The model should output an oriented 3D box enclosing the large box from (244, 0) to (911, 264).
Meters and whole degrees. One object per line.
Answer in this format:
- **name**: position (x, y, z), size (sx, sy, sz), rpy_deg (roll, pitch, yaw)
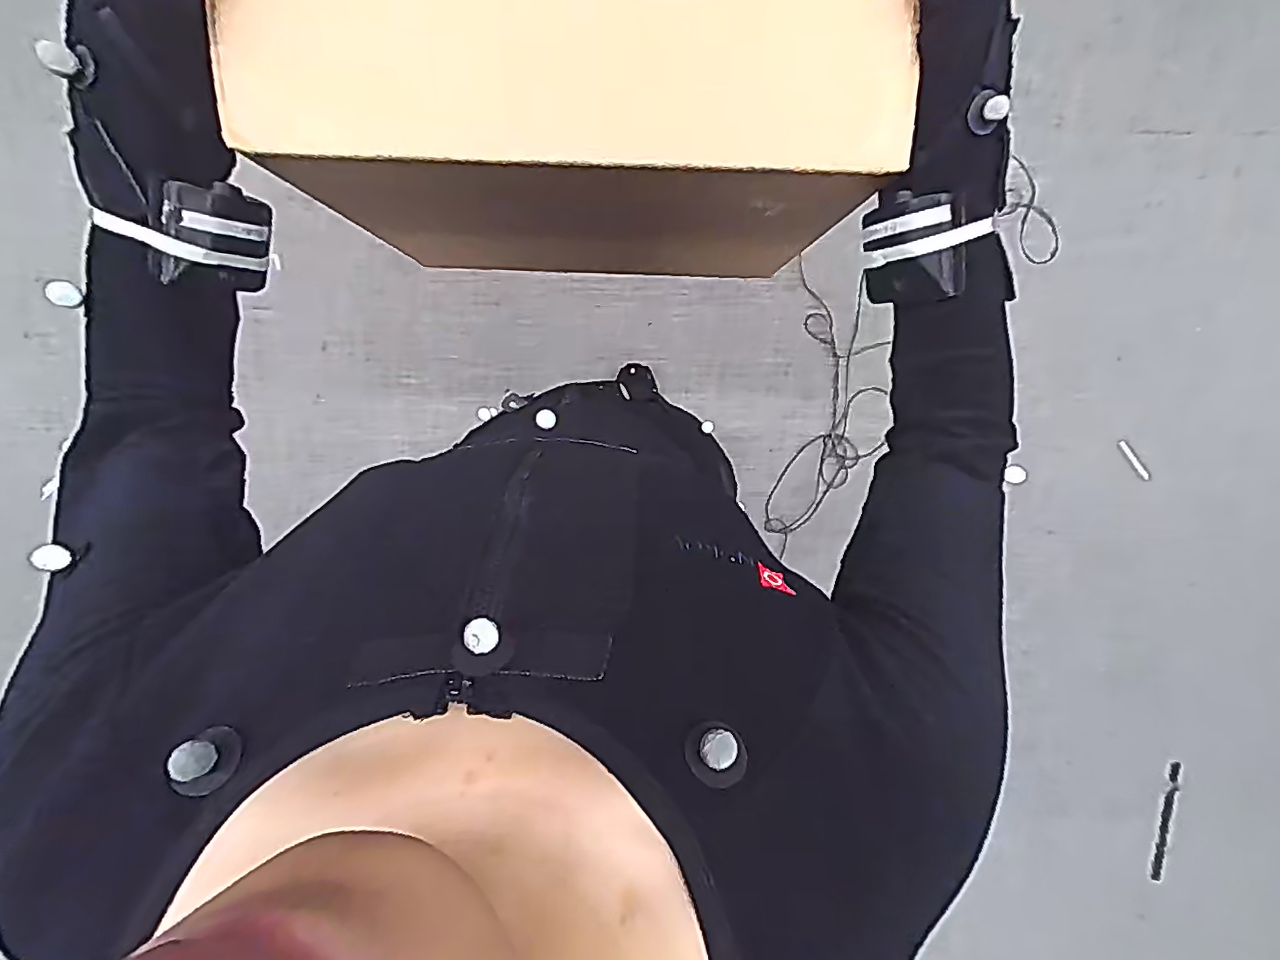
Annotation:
- **large box**: position (-0.039, -0.380, 0.458), size (0.408, 0.320, 0.320), rpy_deg (0, 100, -2)
